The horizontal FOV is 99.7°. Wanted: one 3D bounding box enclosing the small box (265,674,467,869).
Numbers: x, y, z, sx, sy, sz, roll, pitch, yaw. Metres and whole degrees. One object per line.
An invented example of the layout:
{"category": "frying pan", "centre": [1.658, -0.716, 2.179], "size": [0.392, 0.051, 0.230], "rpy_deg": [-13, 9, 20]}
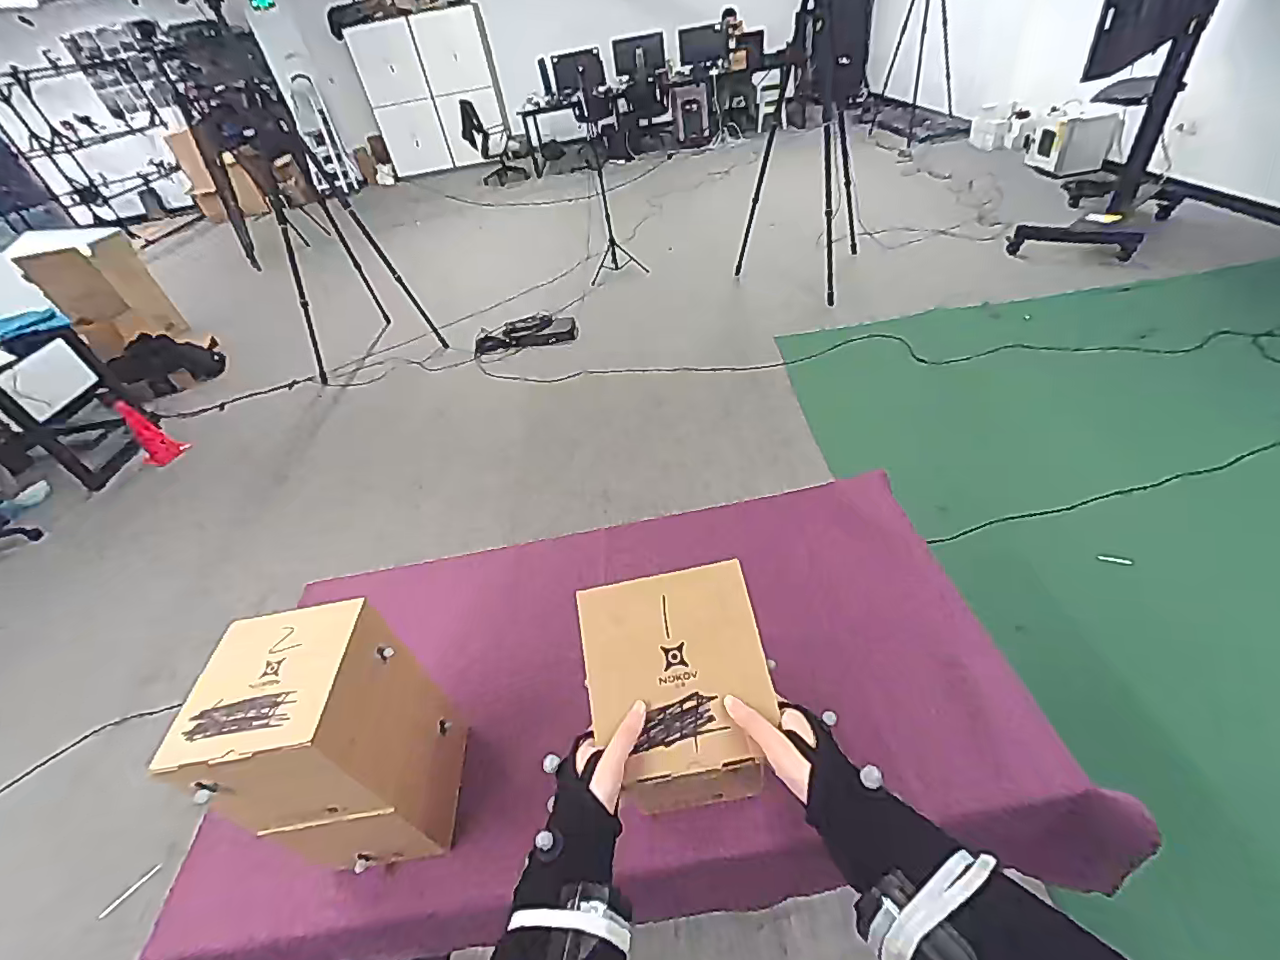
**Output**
{"category": "small box", "centre": [-0.350, 0.395, 0.736], "size": [0.168, 0.176, 0.179], "rpy_deg": [-11, 42, 2]}

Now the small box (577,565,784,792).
{"category": "small box", "centre": [0.040, 0.207, 0.570], "size": [0.168, 0.176, 0.179], "rpy_deg": [-12, 65, 1]}

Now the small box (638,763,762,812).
{"category": "small box", "centre": [0.062, 0.313, 0.730], "size": [0.168, 0.176, 0.179], "rpy_deg": [-12, 40, 2]}
